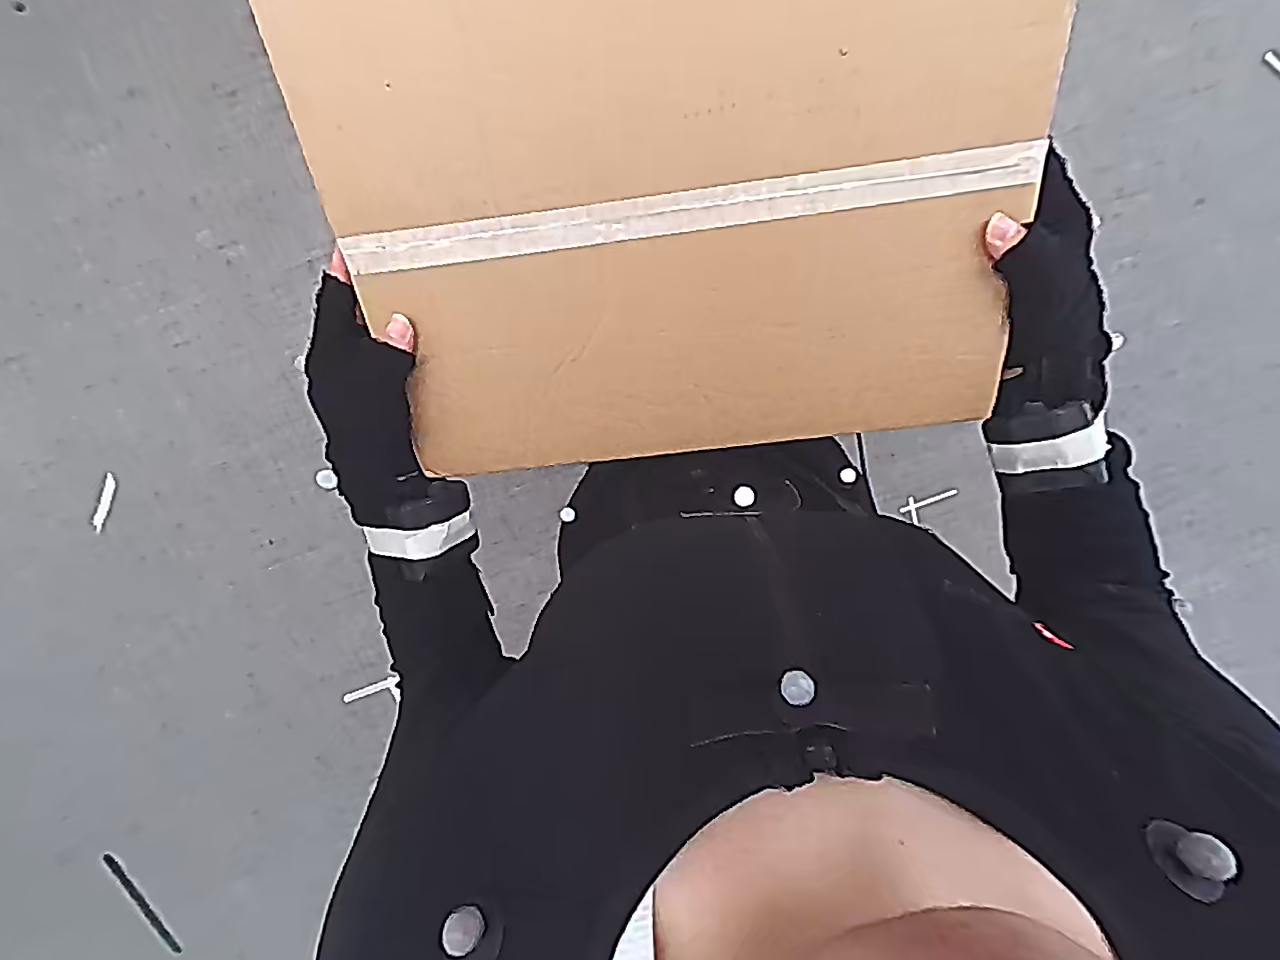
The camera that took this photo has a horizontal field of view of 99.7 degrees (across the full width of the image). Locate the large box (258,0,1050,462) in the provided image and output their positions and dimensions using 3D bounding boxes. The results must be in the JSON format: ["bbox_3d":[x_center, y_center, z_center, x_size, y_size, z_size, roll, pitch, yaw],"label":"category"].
[{"bbox_3d":[0.018,-0.241,0.446,0.408,0.320,0.320,-6,119,2],"label":"large box"}]
